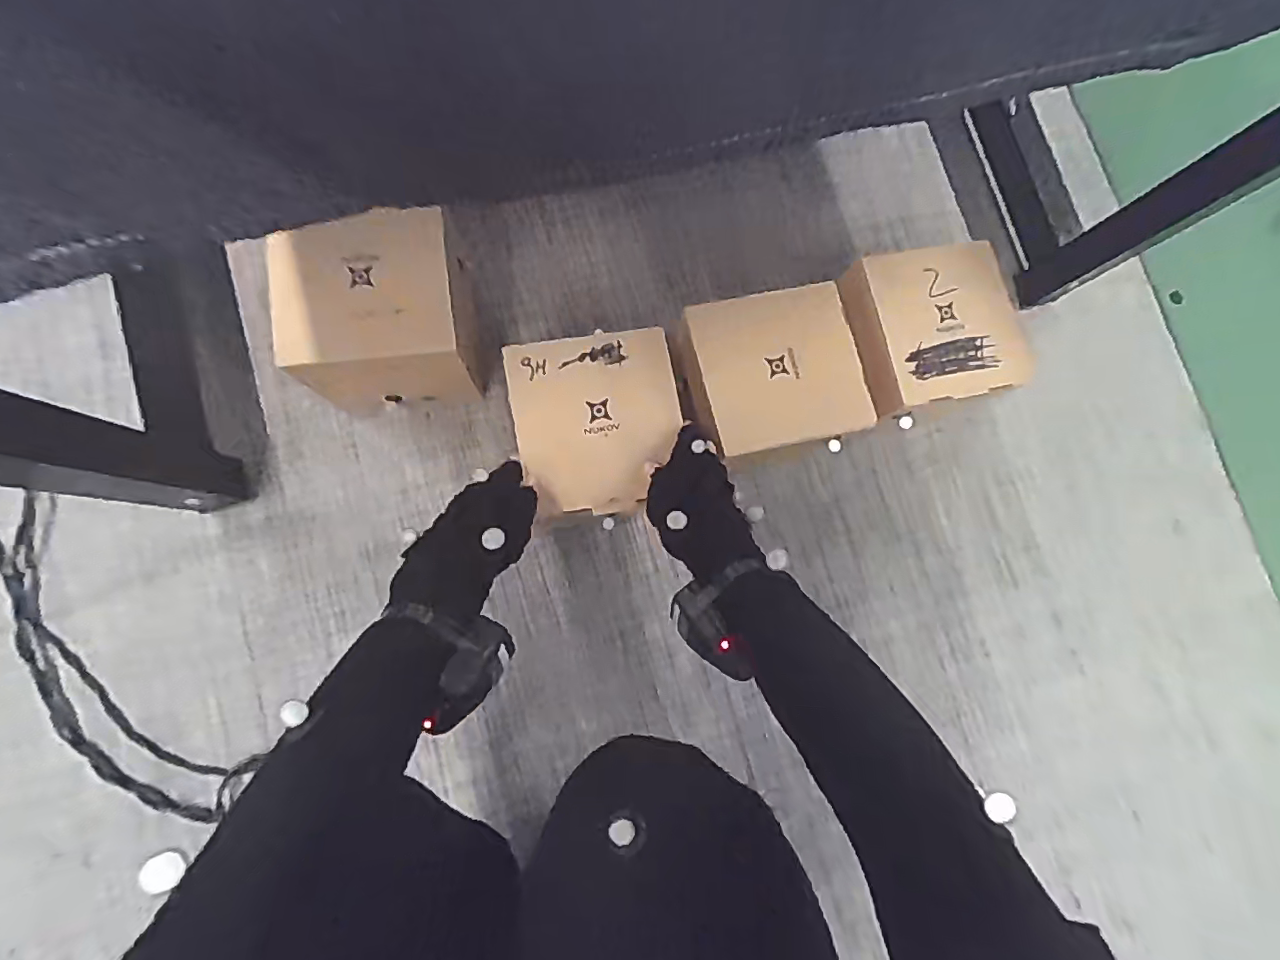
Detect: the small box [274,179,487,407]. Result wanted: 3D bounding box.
[{"bbox_3d":[-0.270,-0.194,0.595,0.168,0.176,0.179,-7,82,-8],"label":"small box"}]
